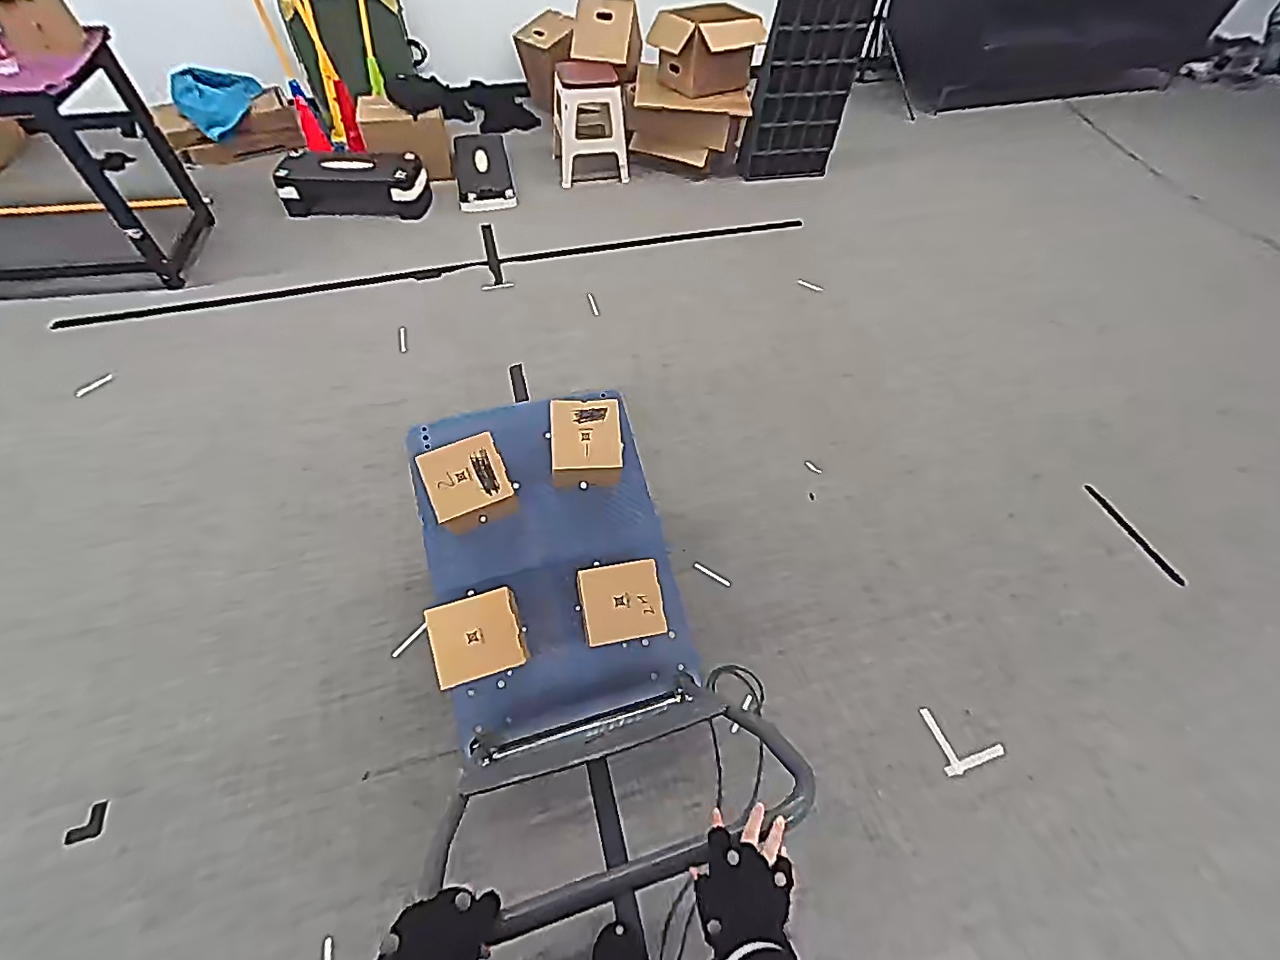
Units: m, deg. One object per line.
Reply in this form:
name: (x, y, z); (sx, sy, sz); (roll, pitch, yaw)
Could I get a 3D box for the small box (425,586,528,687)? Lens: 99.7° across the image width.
small box: (-0.354, 0.346, 1.196); (0.179, 0.176, 0.168); (-15, 77, -14)

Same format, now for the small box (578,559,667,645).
small box: (-0.048, 0.287, 1.258); (0.179, 0.176, 0.168); (-8, 76, -10)

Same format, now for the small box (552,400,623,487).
small box: (-0.136, -0.088, 1.355); (0.168, 0.176, 0.179); (-2, 75, -9)
